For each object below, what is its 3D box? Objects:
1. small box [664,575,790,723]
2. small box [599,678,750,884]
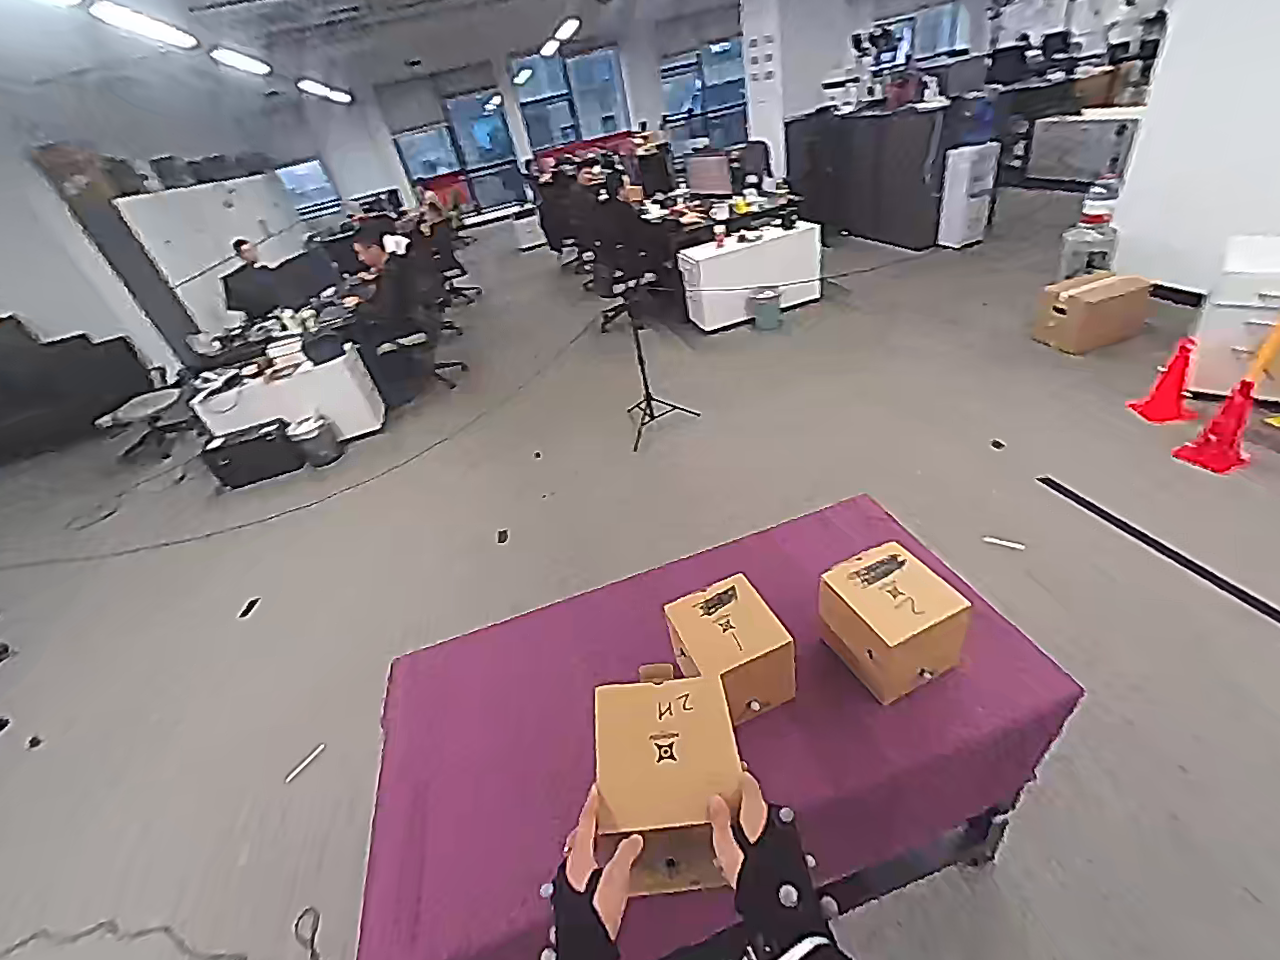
[{"bbox_3d":[0.159,0.315,0.995,0.168,0.176,0.179,-21,36,-11],"label":"small box"},{"bbox_3d":[0.038,0.382,0.685,0.168,0.176,0.179,-3,33,-2],"label":"small box"}]
